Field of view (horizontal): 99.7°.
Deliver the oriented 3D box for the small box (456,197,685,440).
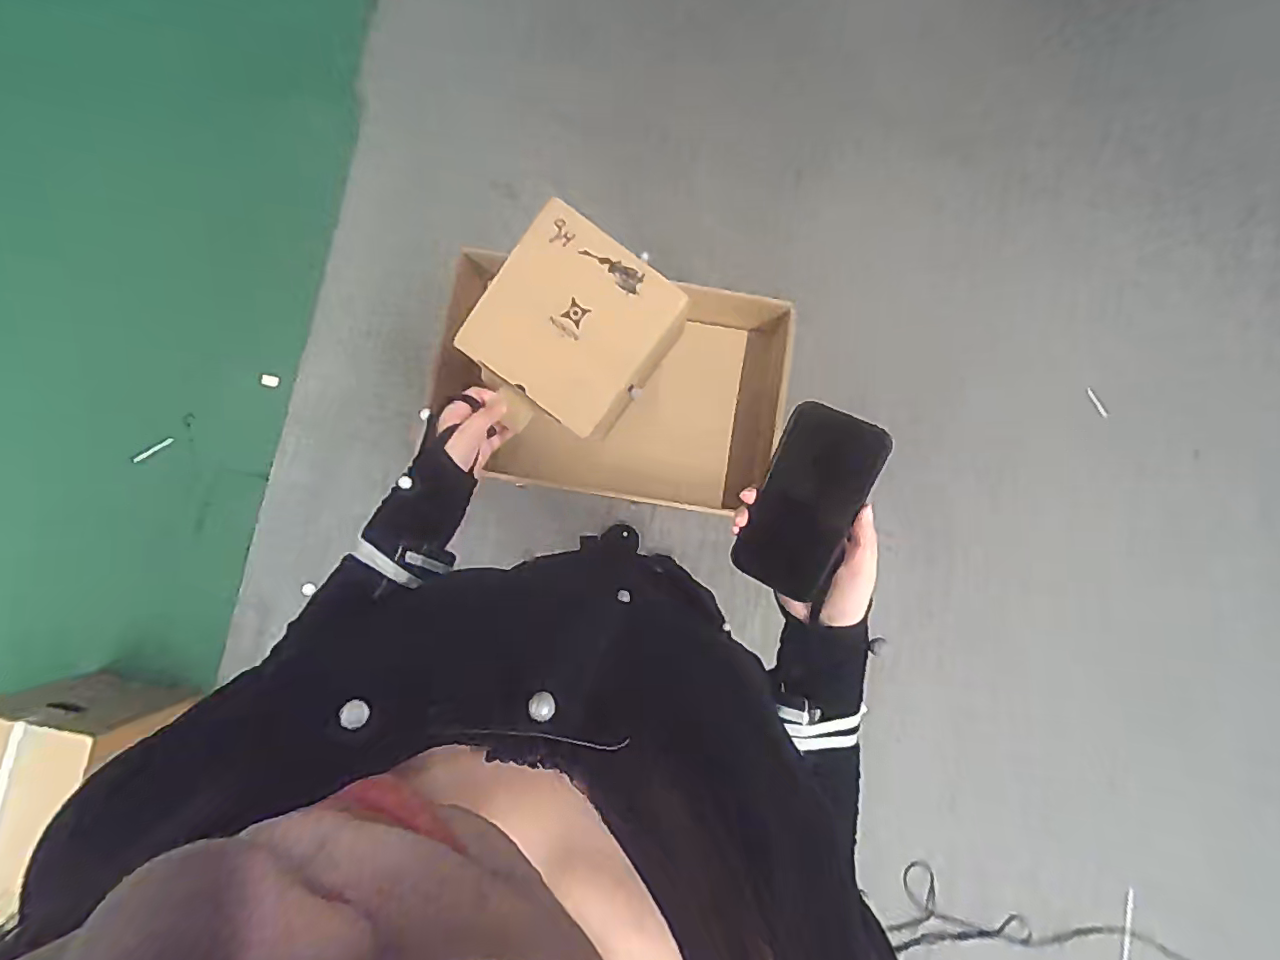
[{"bbox_3d":[-0.063,-0.161,0.602,0.168,0.176,0.179,36,97,0],"label":"small box"}]
